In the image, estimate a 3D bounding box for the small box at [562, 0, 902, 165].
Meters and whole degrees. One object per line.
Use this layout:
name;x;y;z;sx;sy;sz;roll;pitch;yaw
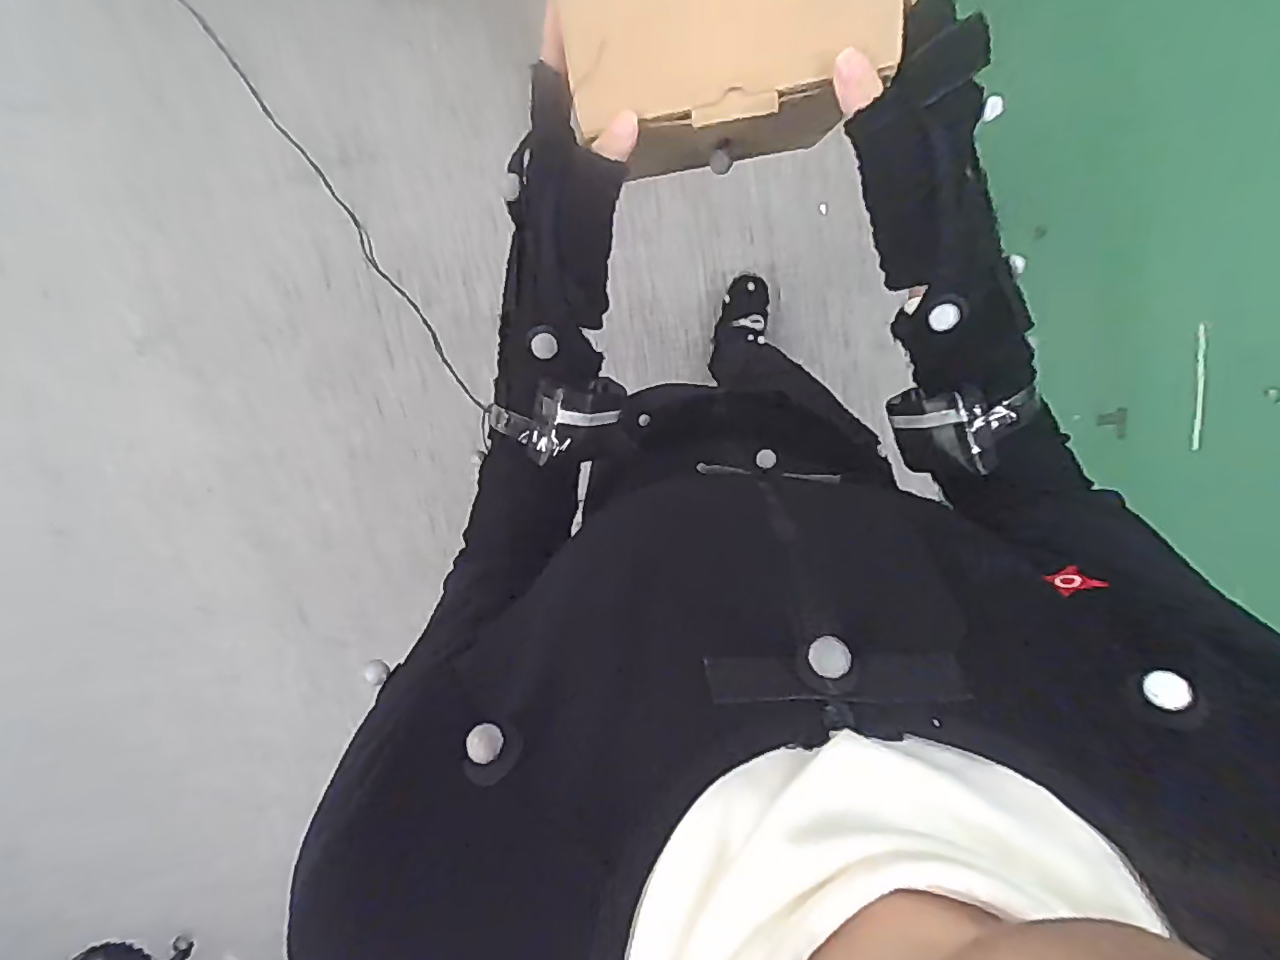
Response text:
small box;0.043;-0.304;0.322;0.168;0.176;0.179;-8;111;6
